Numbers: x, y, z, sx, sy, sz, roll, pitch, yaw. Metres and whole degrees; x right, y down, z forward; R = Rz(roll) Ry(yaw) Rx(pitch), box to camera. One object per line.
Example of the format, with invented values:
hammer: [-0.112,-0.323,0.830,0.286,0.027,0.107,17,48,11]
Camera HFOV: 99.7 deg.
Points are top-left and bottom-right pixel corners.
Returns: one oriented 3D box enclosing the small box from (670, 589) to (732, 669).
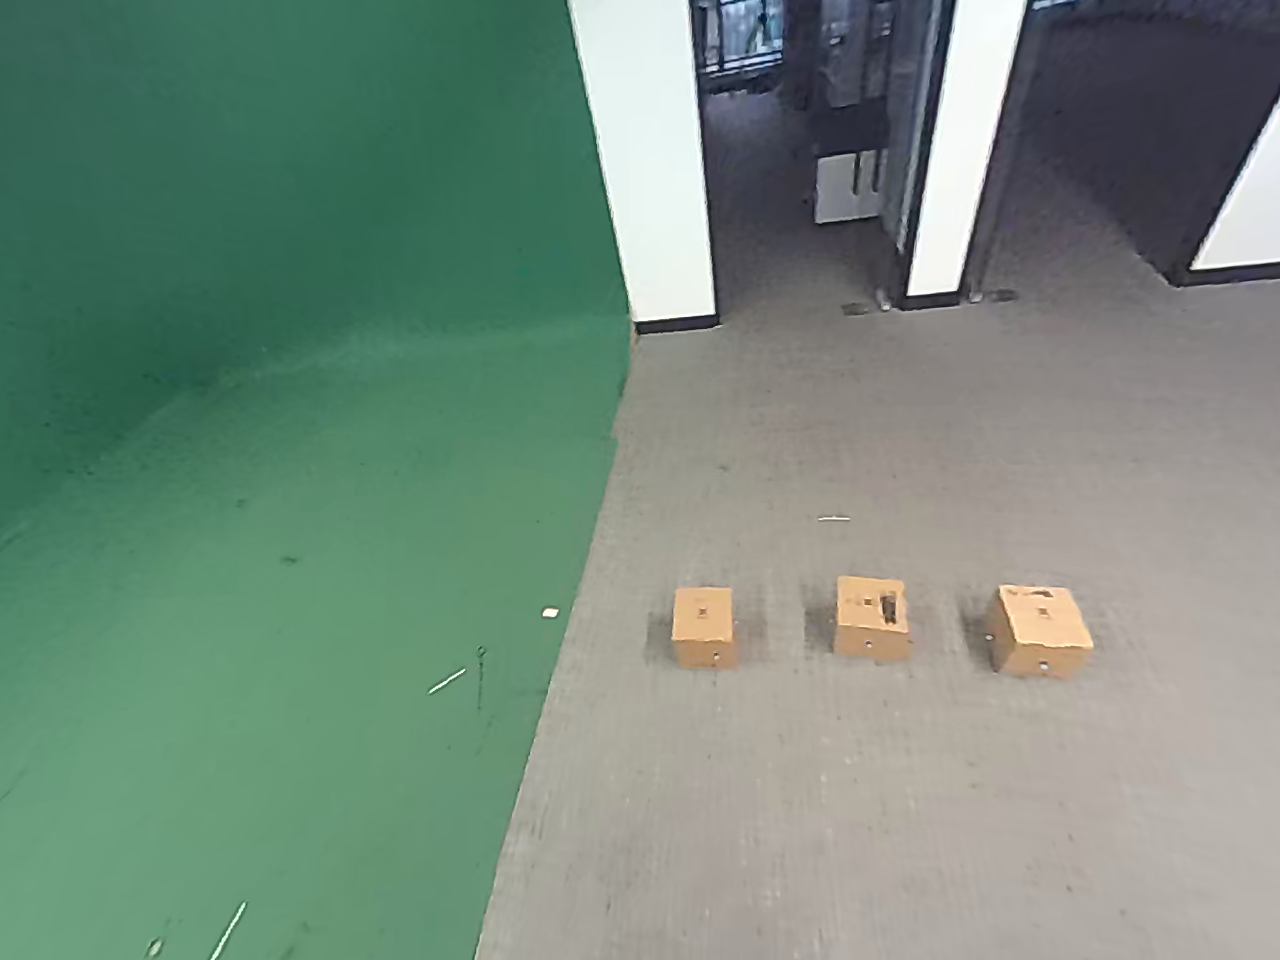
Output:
small box: [0.187,0.442,1.601,0.168,0.176,0.179,-2,43,11]

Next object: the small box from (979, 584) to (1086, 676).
small box: [1.025,0.398,1.429,0.168,0.176,0.179,0,45,14]
